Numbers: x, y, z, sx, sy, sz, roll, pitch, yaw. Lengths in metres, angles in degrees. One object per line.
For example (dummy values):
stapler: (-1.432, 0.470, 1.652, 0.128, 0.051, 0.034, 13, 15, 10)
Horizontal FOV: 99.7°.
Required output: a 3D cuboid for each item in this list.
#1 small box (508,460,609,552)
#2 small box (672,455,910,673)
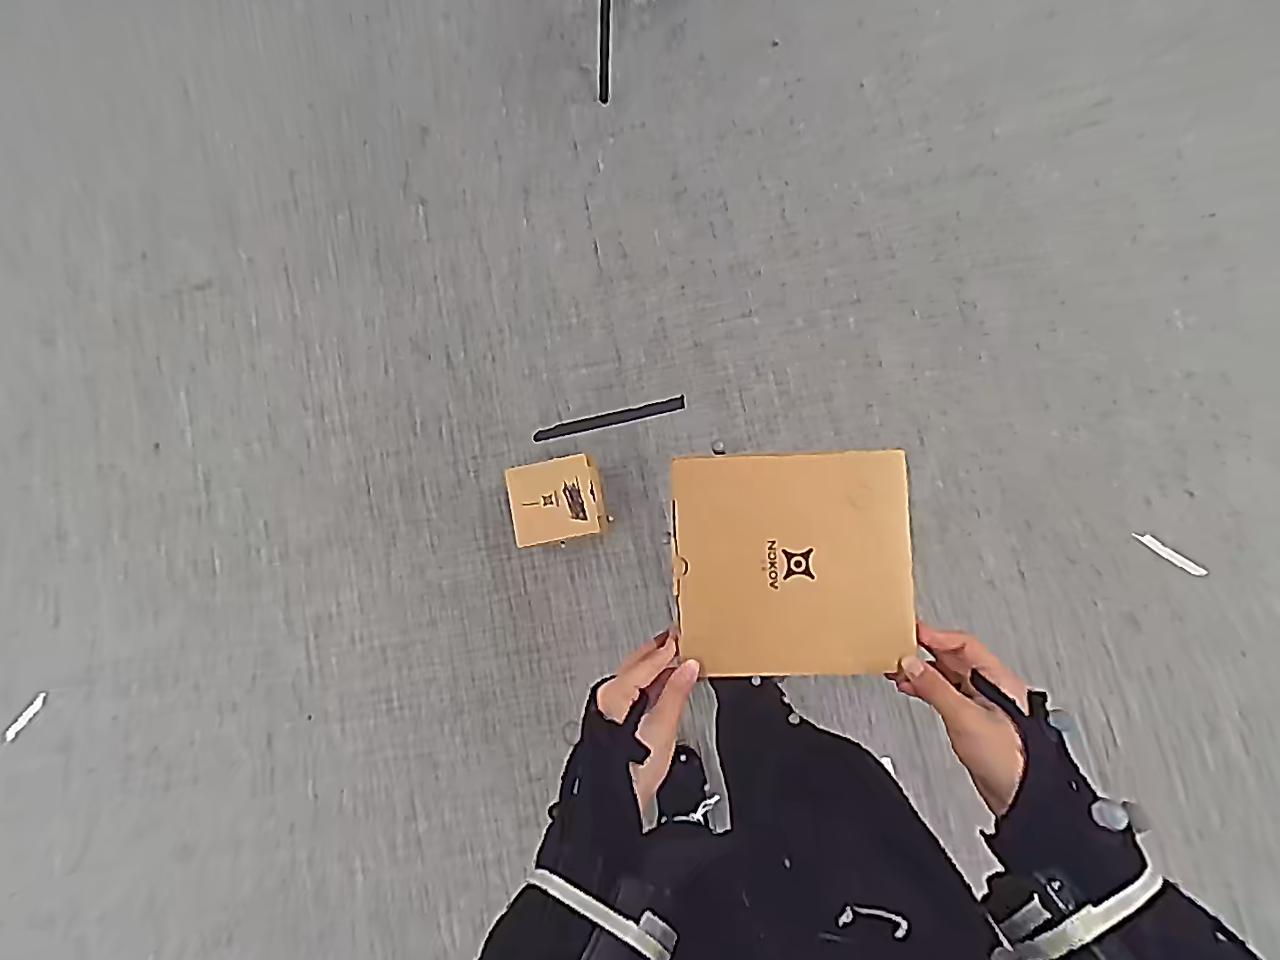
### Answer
small box: (-0.168, 0.060, 1.178, 0.179, 0.176, 0.168, -11, 82, 3)
small box: (0.119, 0.066, 0.492, 0.179, 0.176, 0.168, -3, 88, 5)
